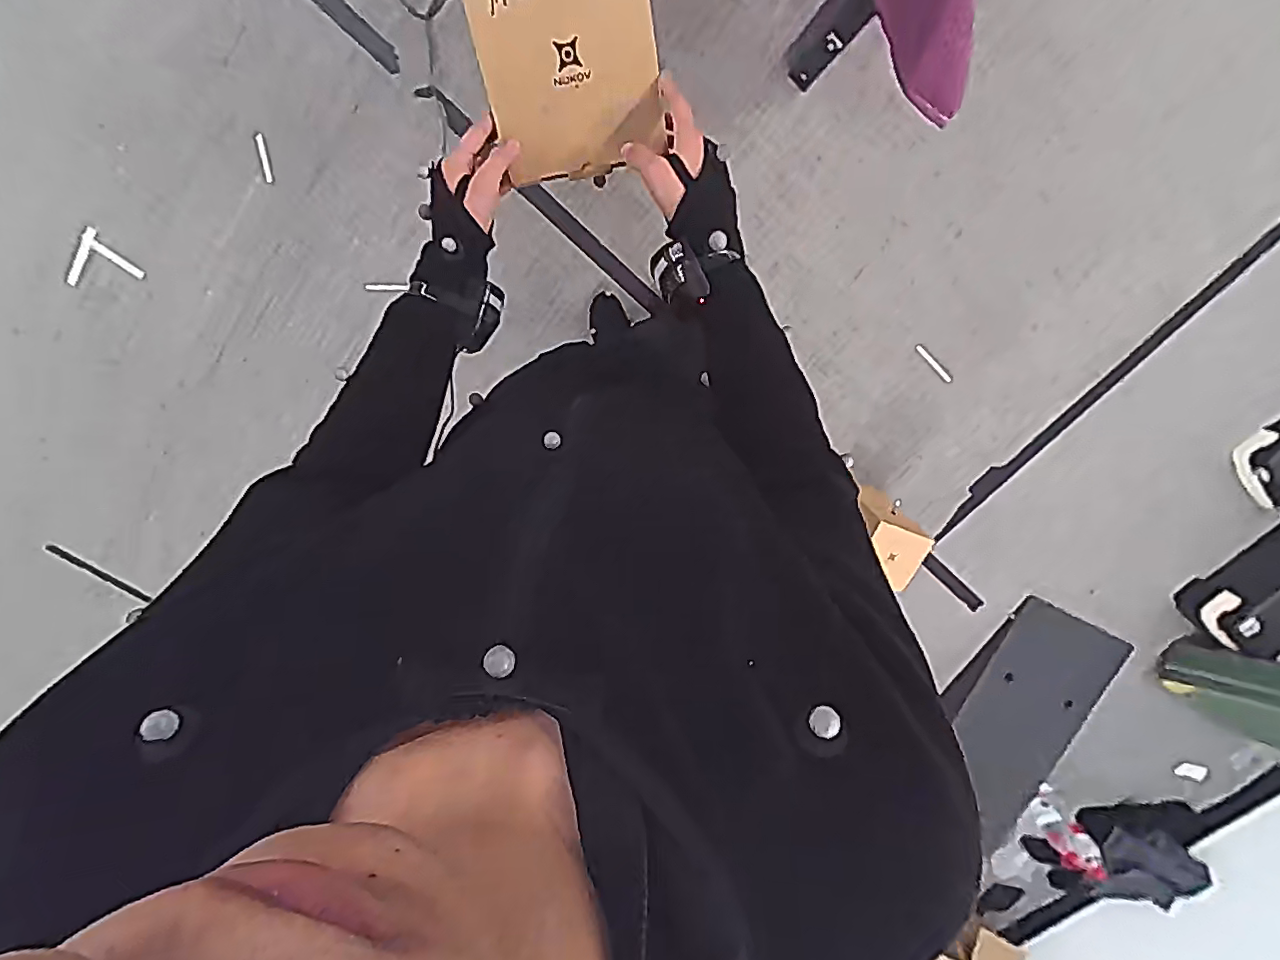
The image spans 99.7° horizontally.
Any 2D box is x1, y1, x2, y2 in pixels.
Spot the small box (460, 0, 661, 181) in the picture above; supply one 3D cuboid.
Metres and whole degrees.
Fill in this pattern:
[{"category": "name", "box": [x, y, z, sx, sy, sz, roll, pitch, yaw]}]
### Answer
[{"category": "small box", "box": [-0.069, -0.434, 0.570, 0.168, 0.176, 0.179, -8, 122, 6]}]
